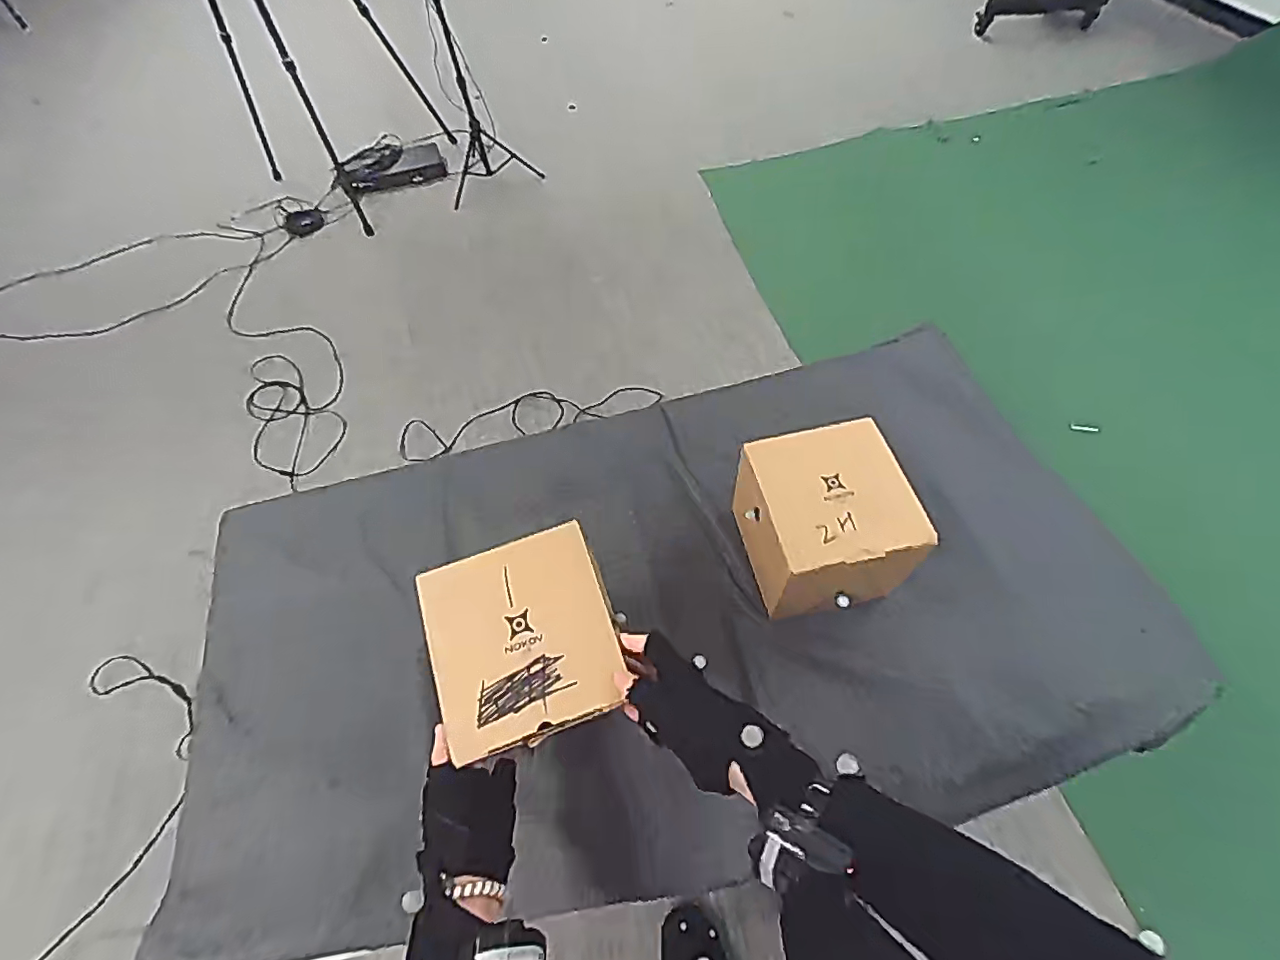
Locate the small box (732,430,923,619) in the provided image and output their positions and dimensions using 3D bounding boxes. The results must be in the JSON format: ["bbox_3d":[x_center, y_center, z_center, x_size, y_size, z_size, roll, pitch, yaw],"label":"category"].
[{"bbox_3d":[0.218,0.062,0.688,0.168,0.176,0.179,-8,61,0],"label":"small box"}]

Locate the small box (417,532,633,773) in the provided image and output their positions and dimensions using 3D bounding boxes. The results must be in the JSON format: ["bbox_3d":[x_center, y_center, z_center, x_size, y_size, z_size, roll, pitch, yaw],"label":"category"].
[{"bbox_3d":[-0.110,0.182,0.571,0.168,0.176,0.179,-18,66,-6],"label":"small box"}]
